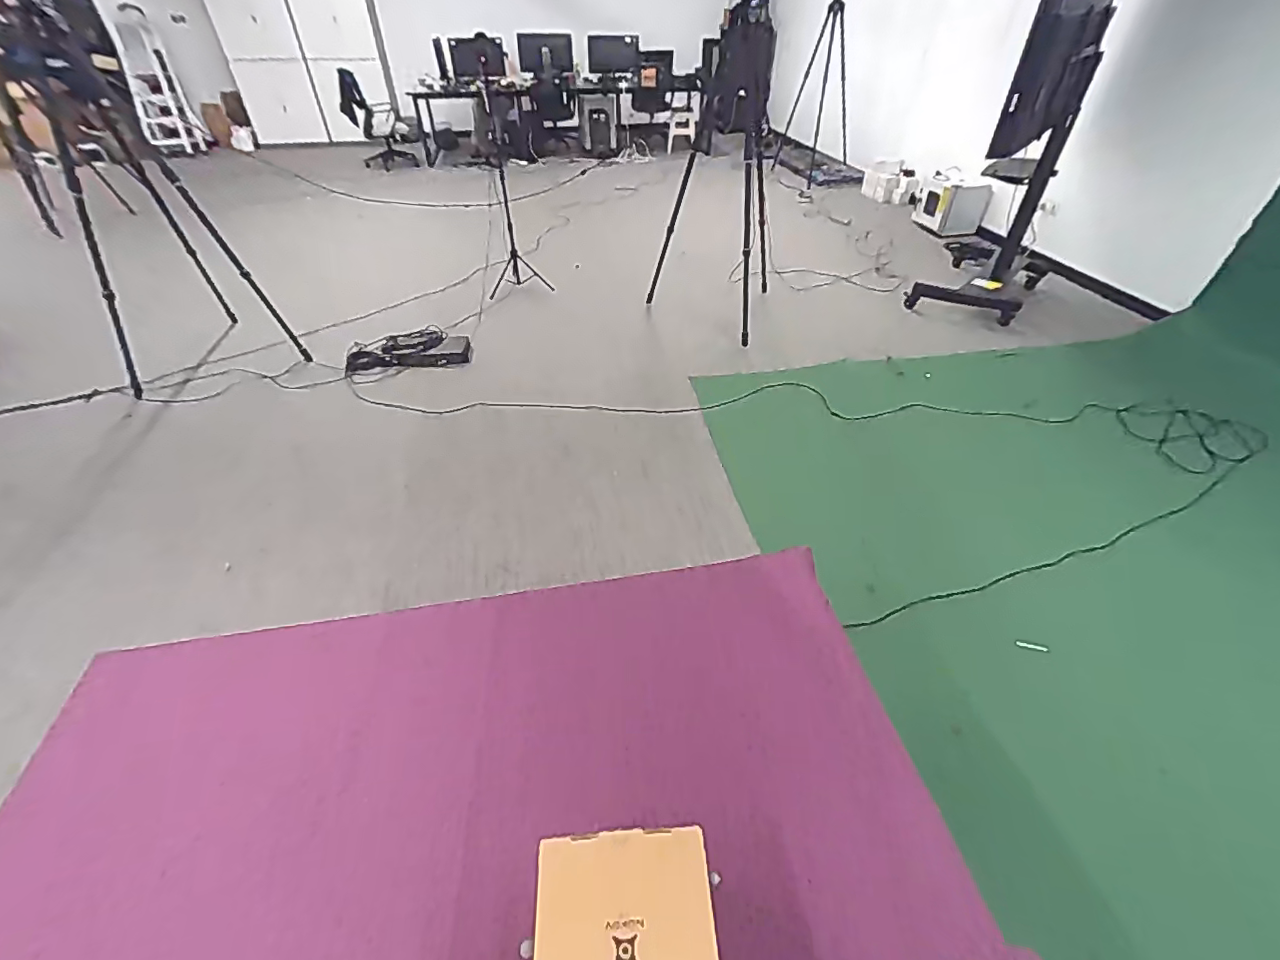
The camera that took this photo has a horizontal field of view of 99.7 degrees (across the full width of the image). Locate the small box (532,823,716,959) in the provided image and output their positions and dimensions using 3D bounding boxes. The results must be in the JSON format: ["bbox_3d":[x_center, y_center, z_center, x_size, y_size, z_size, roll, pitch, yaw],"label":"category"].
[{"bbox_3d":[-0.012,0.472,0.537,0.168,0.176,0.179,-3,40,-2],"label":"small box"}]
